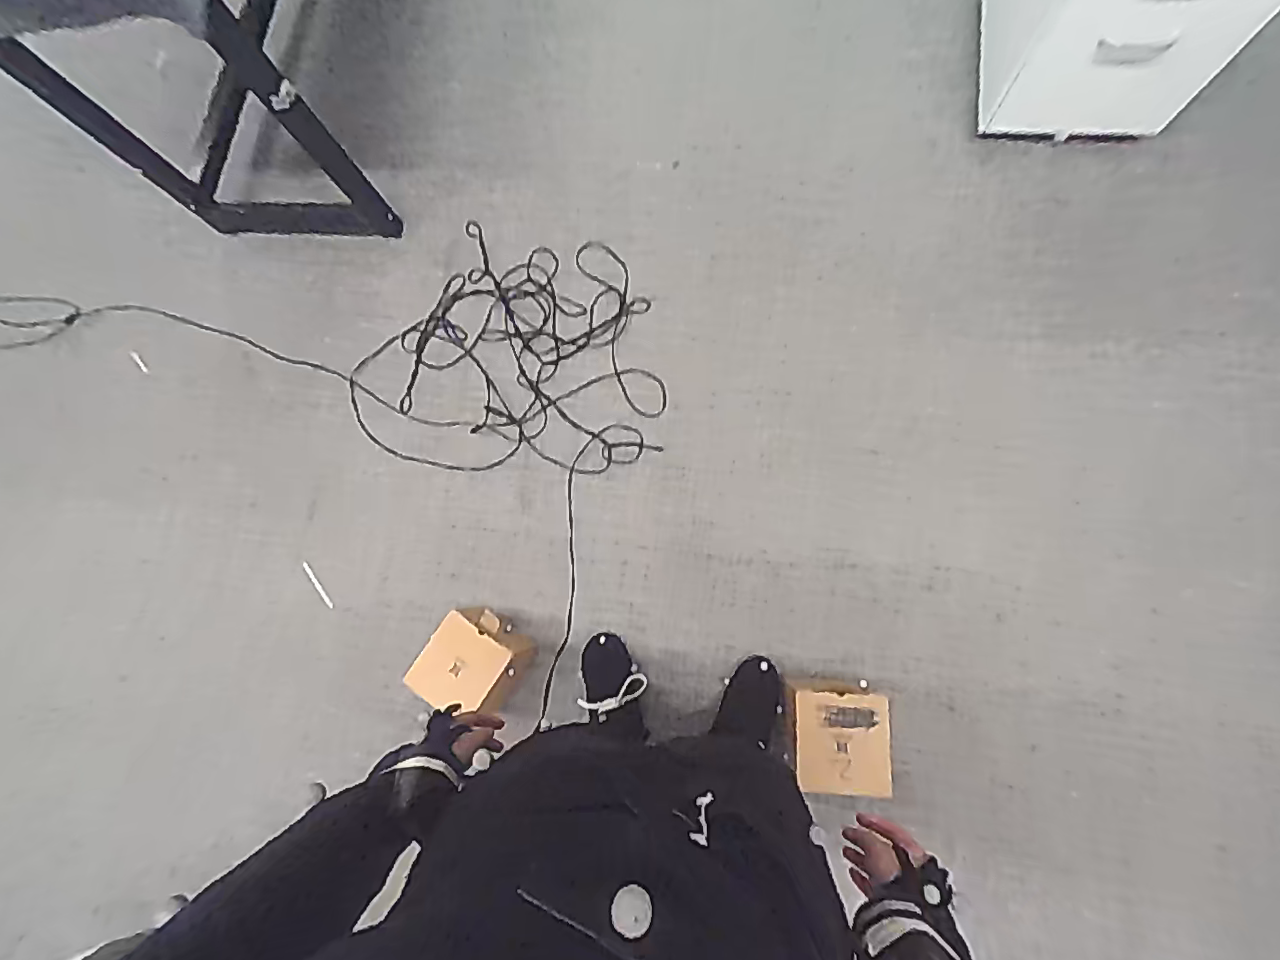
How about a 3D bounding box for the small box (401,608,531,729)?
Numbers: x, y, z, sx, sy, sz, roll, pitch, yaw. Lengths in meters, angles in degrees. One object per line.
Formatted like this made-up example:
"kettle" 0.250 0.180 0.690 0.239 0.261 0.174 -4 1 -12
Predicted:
"small box" -0.359 0.392 1.156 0.168 0.176 0.179 32 83 12
